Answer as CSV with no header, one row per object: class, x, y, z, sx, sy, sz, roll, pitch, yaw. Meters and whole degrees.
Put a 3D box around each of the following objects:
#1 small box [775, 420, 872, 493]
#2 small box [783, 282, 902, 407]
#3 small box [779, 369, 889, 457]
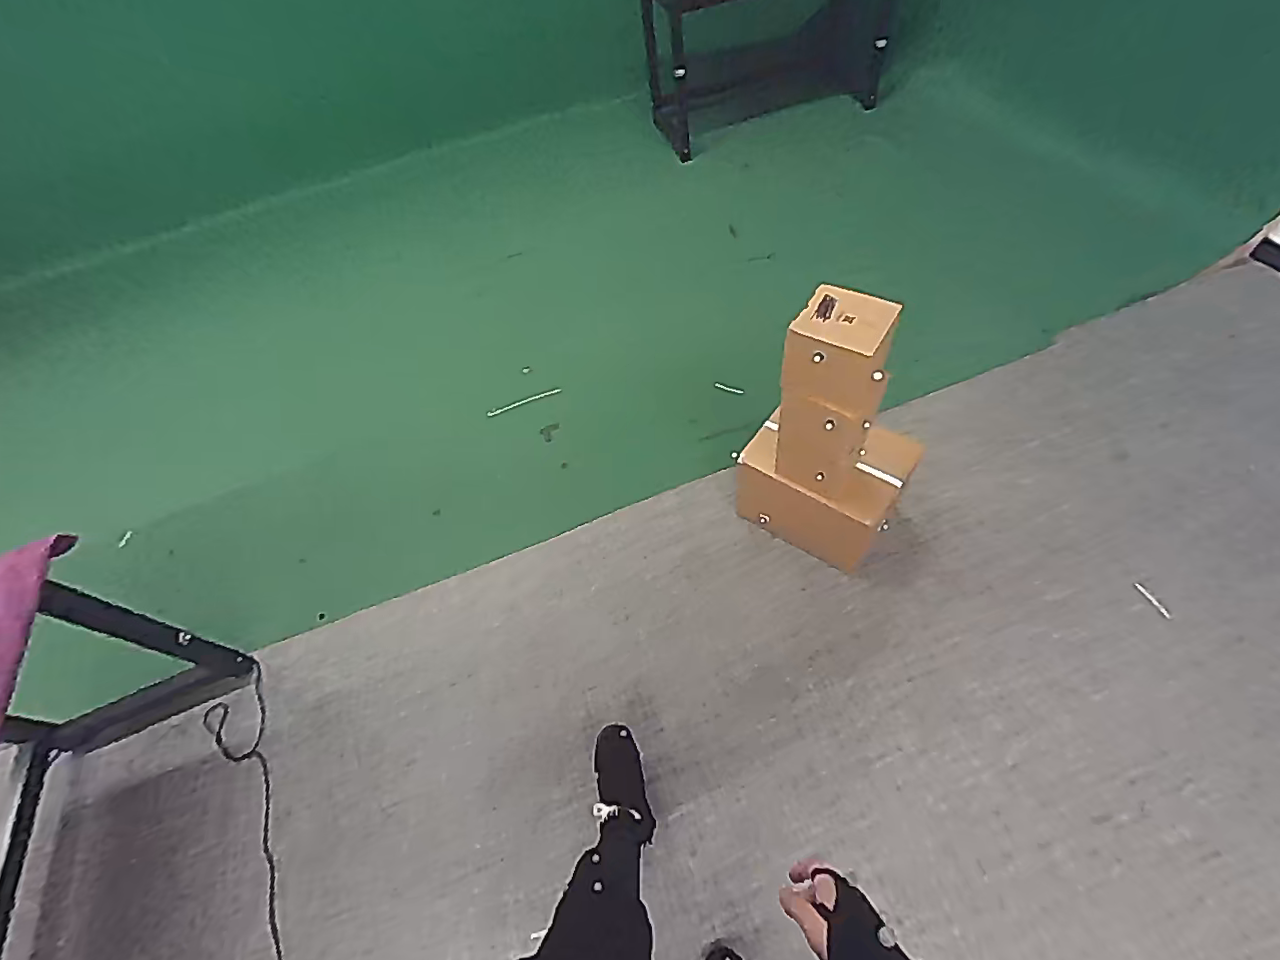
small box,0.470,-0.089,1.409,0.179,0.176,0.168,30,66,26
small box,0.420,-0.283,1.148,0.179,0.176,0.168,27,64,23
small box,0.448,-0.180,1.273,0.179,0.176,0.168,33,66,26
